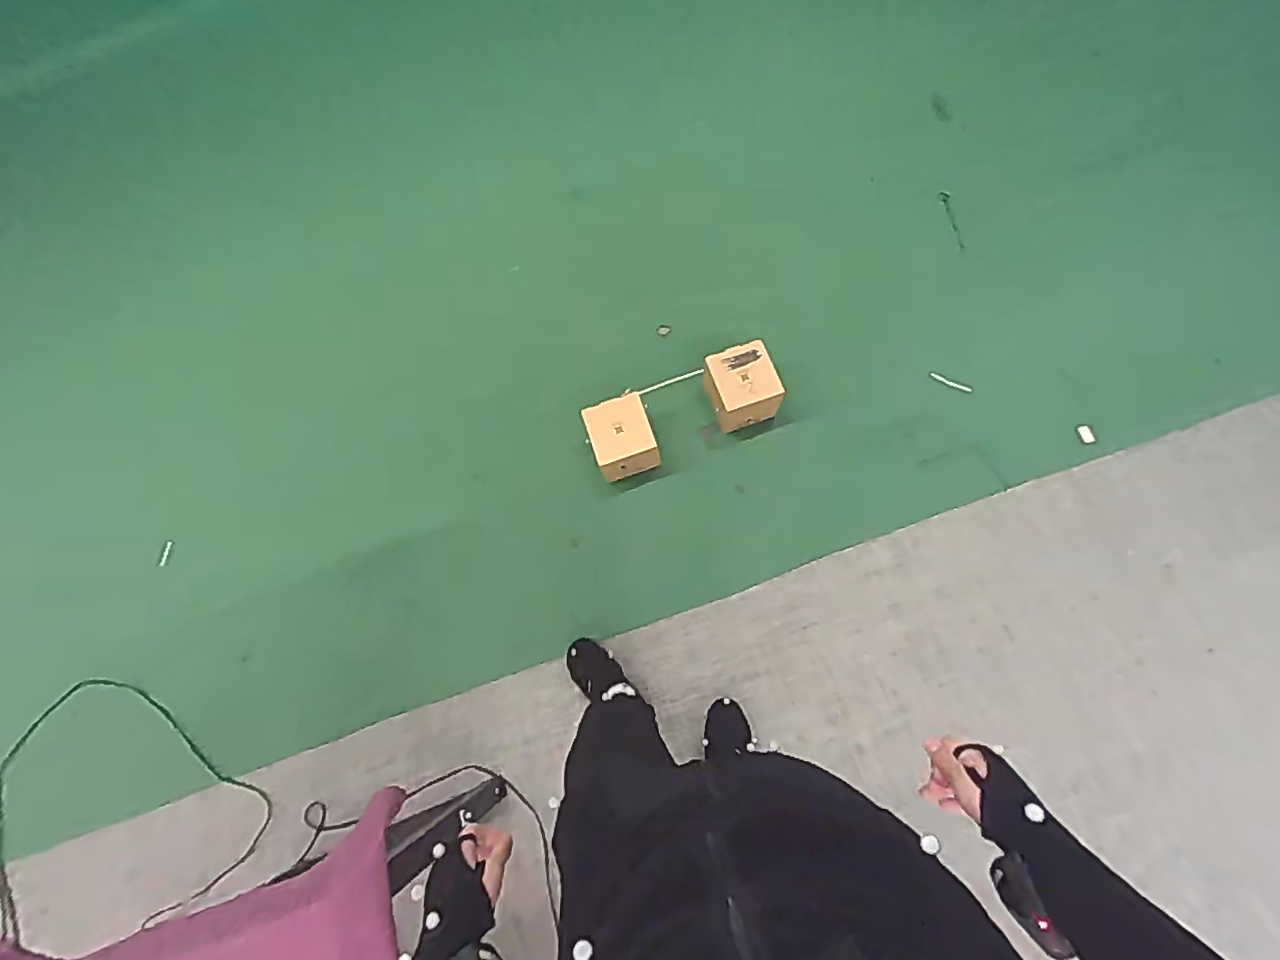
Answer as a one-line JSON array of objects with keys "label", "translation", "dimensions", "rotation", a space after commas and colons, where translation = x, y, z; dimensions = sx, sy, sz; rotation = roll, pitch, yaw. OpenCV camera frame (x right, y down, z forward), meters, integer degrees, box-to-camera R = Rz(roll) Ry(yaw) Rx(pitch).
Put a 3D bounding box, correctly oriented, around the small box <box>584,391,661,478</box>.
[{"label": "small box", "translation": [-0.044, -0.117, 1.526], "dimensions": [0.168, 0.176, 0.179], "rotation": [-19, 72, 0]}]
